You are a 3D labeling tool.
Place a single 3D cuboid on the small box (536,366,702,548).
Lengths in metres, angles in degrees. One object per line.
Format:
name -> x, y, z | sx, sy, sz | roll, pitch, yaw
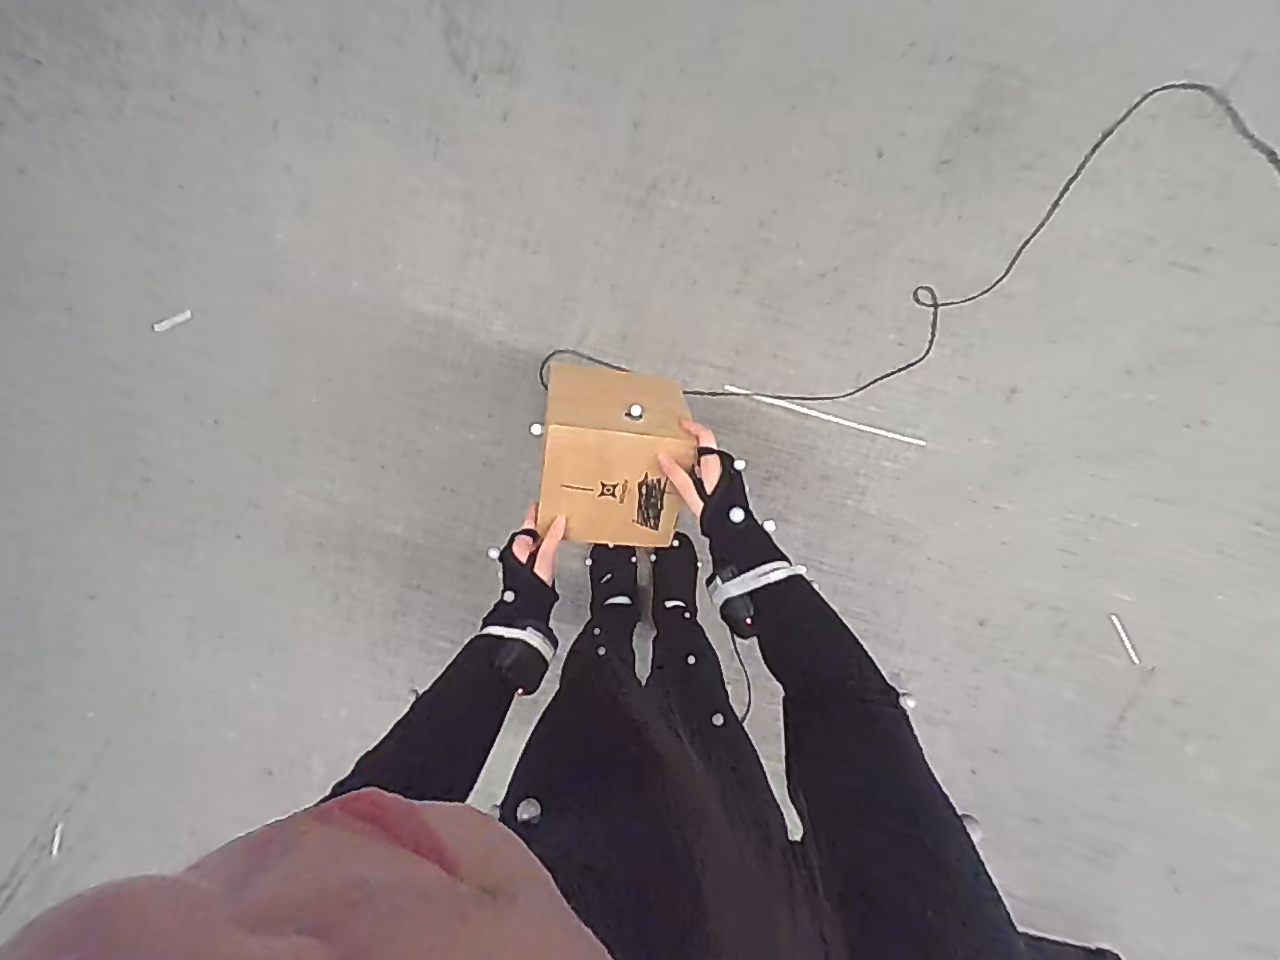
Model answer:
small box -> -0.036, -0.033, 0.708 | 0.179, 0.176, 0.168 | 7, 125, -10
